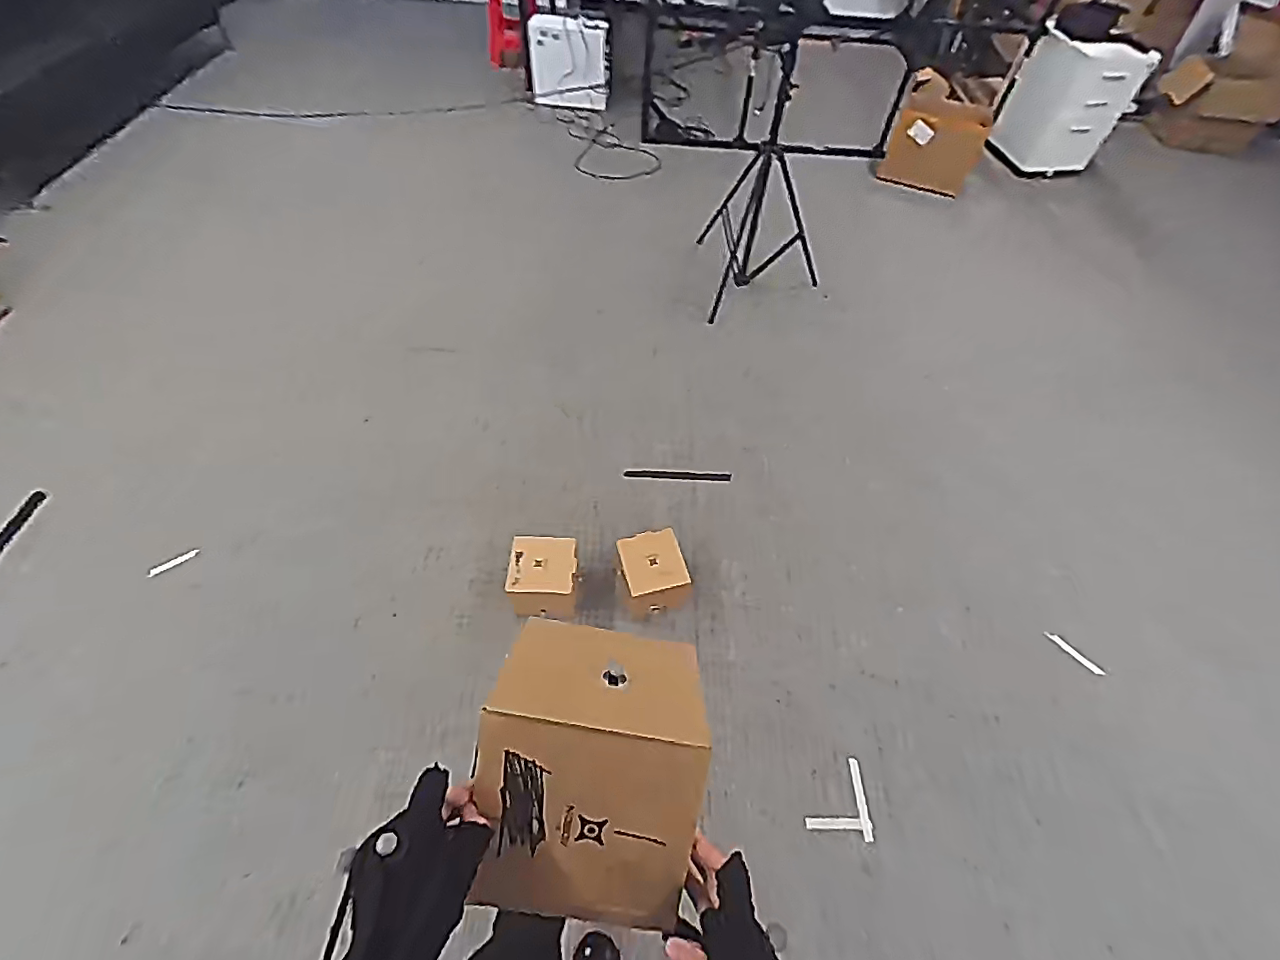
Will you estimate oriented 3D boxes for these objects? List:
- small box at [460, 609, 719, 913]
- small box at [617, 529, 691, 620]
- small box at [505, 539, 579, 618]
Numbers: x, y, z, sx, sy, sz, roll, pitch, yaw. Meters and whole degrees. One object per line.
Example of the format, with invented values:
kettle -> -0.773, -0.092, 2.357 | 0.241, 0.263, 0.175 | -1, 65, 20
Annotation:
small box -> -0.040, 0.232, 0.489 | 0.179, 0.168, 0.176 | 10, 9, -1
small box -> 0.031, 0.269, 1.530 | 0.168, 0.176, 0.179 | -13, 57, -10
small box -> -0.265, 0.280, 1.509 | 0.179, 0.176, 0.168 | 2, 54, -1
